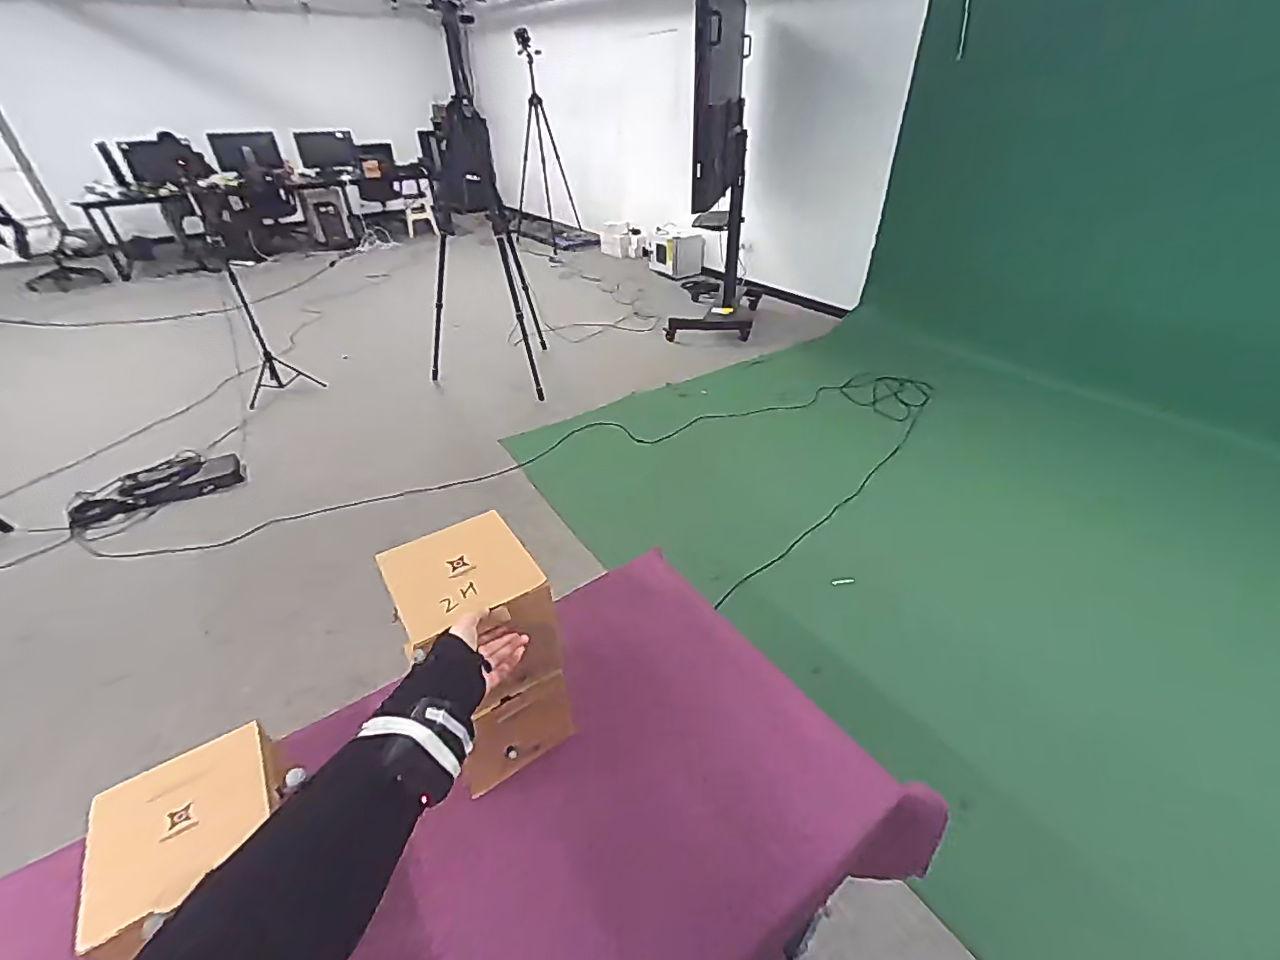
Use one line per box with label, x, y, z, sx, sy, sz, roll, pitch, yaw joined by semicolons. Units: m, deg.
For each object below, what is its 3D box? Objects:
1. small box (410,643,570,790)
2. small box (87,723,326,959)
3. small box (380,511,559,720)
small box;-0.221;0.316;0.814;0.168;0.176;0.179;-25;42;-28
small box;-0.501;0.444;0.648;0.168;0.176;0.179;-22;40;-27
small box;-0.223;0.176;0.725;0.168;0.176;0.179;-23;42;-27
